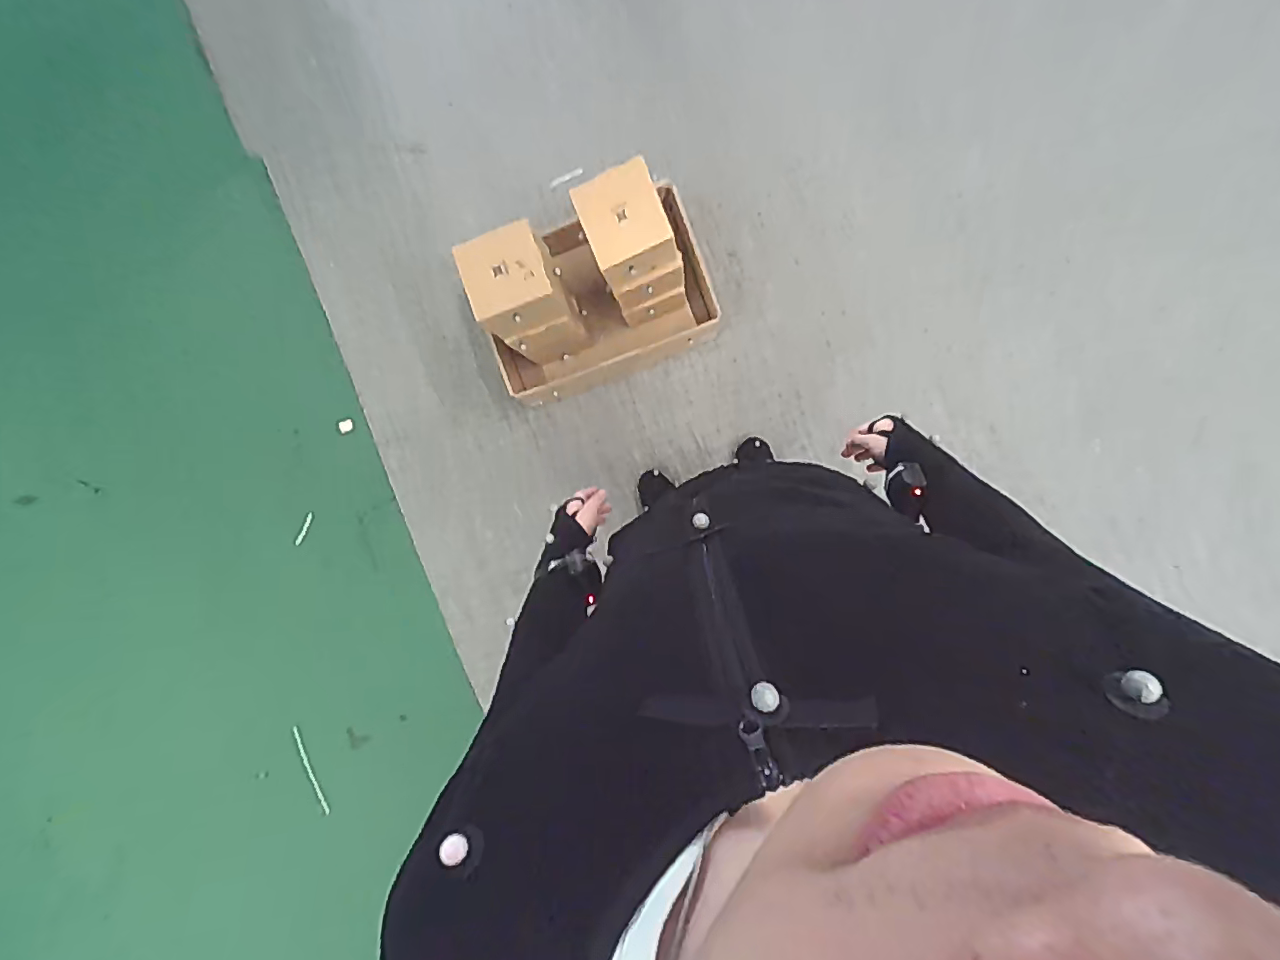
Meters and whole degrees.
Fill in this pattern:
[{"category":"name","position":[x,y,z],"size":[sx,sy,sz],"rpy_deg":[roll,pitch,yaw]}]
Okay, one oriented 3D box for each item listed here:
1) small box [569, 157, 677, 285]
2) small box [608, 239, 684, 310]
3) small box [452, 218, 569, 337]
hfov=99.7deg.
[{"category":"small box","position":[-0.027,-0.538,1.160],"size":[0.168,0.176,0.179],"rpy_deg":[-22,91,8]},{"category":"small box","position":[0.001,-0.537,1.320],"size":[0.179,0.176,0.168],"rpy_deg":[-22,92,7]},{"category":"small box","position":[-0.276,-0.432,1.185],"size":[0.179,0.176,0.168],"rpy_deg":[-19,90,6]}]
